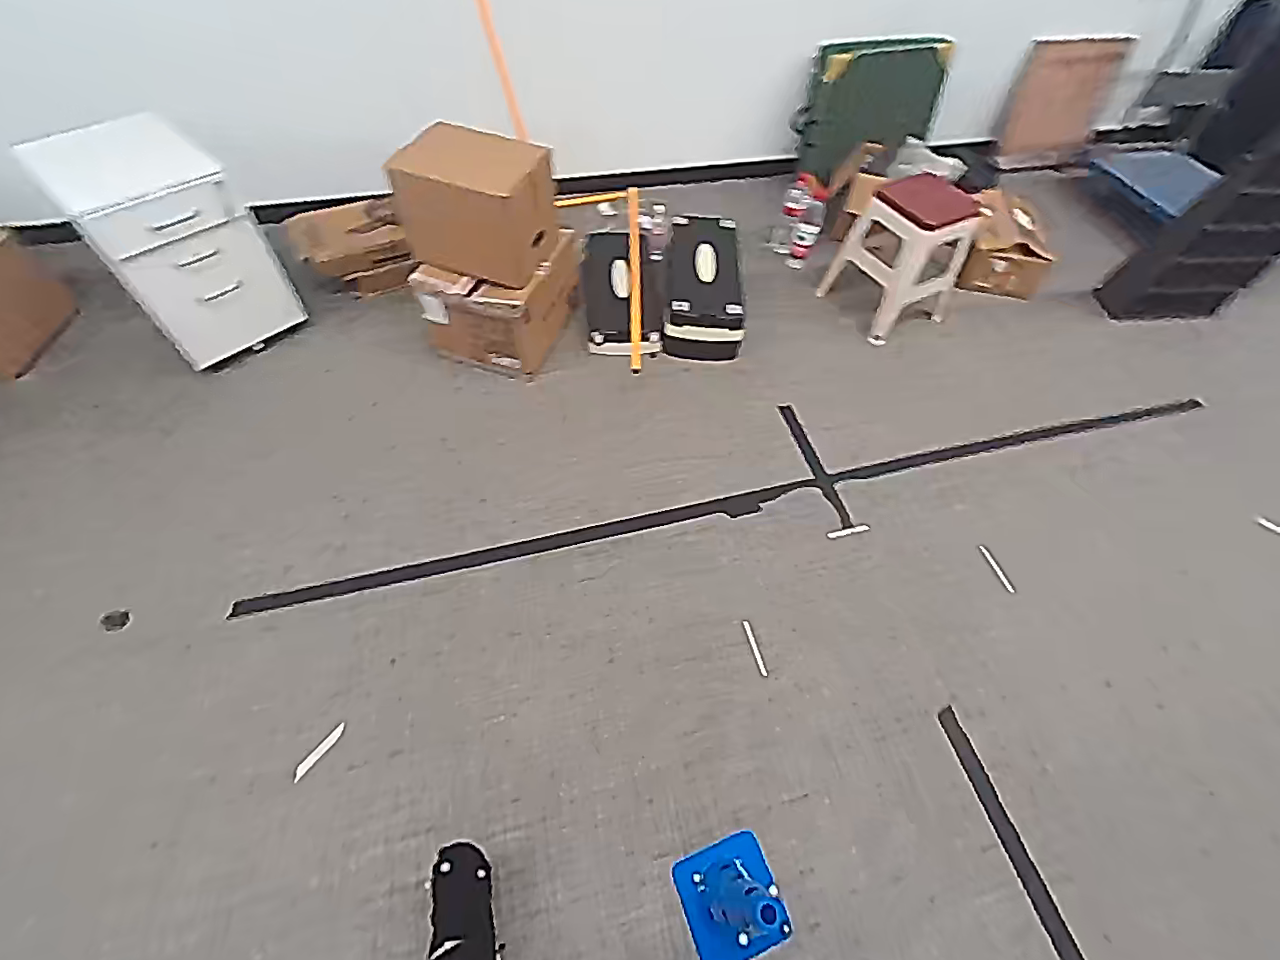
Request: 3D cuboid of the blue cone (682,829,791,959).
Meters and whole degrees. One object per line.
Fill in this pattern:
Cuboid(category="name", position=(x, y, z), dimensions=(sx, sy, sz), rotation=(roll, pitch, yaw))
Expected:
Cuboid(category="blue cone", position=(0.203, 0.772, 1.000), dimensions=(0.192, 0.380, 0.193), rotation=(-15, 57, -13))
